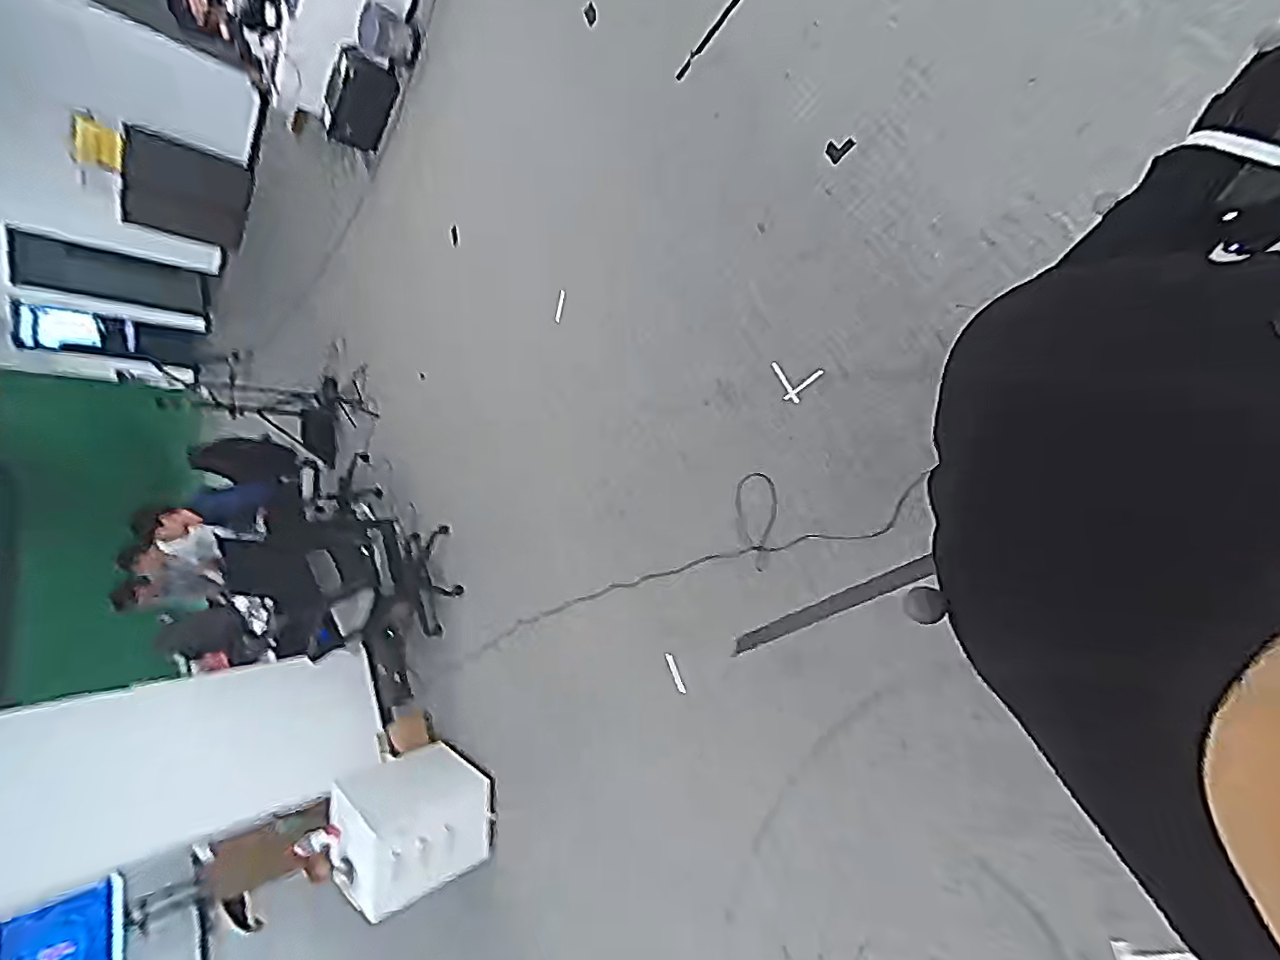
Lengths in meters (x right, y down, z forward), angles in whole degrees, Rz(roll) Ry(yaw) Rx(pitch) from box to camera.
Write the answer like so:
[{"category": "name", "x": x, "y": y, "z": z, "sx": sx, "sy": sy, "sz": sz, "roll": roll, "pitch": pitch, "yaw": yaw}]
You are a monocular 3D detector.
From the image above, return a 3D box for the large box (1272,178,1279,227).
[{"category": "large box", "x": 0.727, "y": -0.229, "z": 0.298, "sx": 0.408, "sy": 0.320, "sz": 0.320, "roll": 50, "pitch": 134, "yaw": 28}]
